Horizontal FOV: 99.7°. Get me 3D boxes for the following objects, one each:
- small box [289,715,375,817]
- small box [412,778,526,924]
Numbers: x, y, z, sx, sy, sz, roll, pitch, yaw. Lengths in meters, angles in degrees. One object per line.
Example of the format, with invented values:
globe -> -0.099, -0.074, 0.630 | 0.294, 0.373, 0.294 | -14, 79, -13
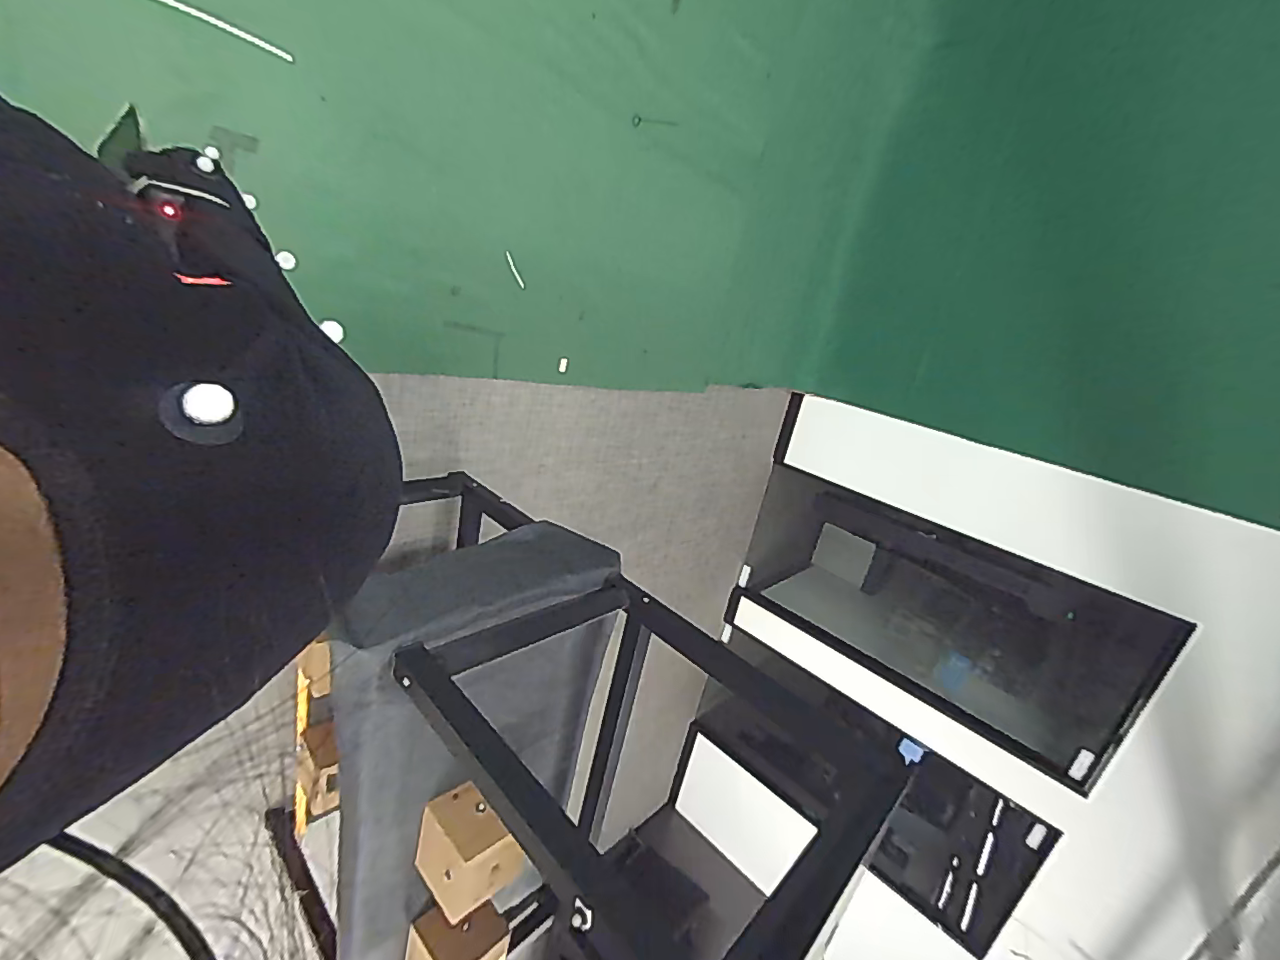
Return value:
small box -> -0.922, 0.842, 1.611 | 0.179, 0.176, 0.168 | -4, 115, -50
small box -> -0.380, 0.797, 1.190 | 0.168, 0.176, 0.179 | -5, 114, -50
